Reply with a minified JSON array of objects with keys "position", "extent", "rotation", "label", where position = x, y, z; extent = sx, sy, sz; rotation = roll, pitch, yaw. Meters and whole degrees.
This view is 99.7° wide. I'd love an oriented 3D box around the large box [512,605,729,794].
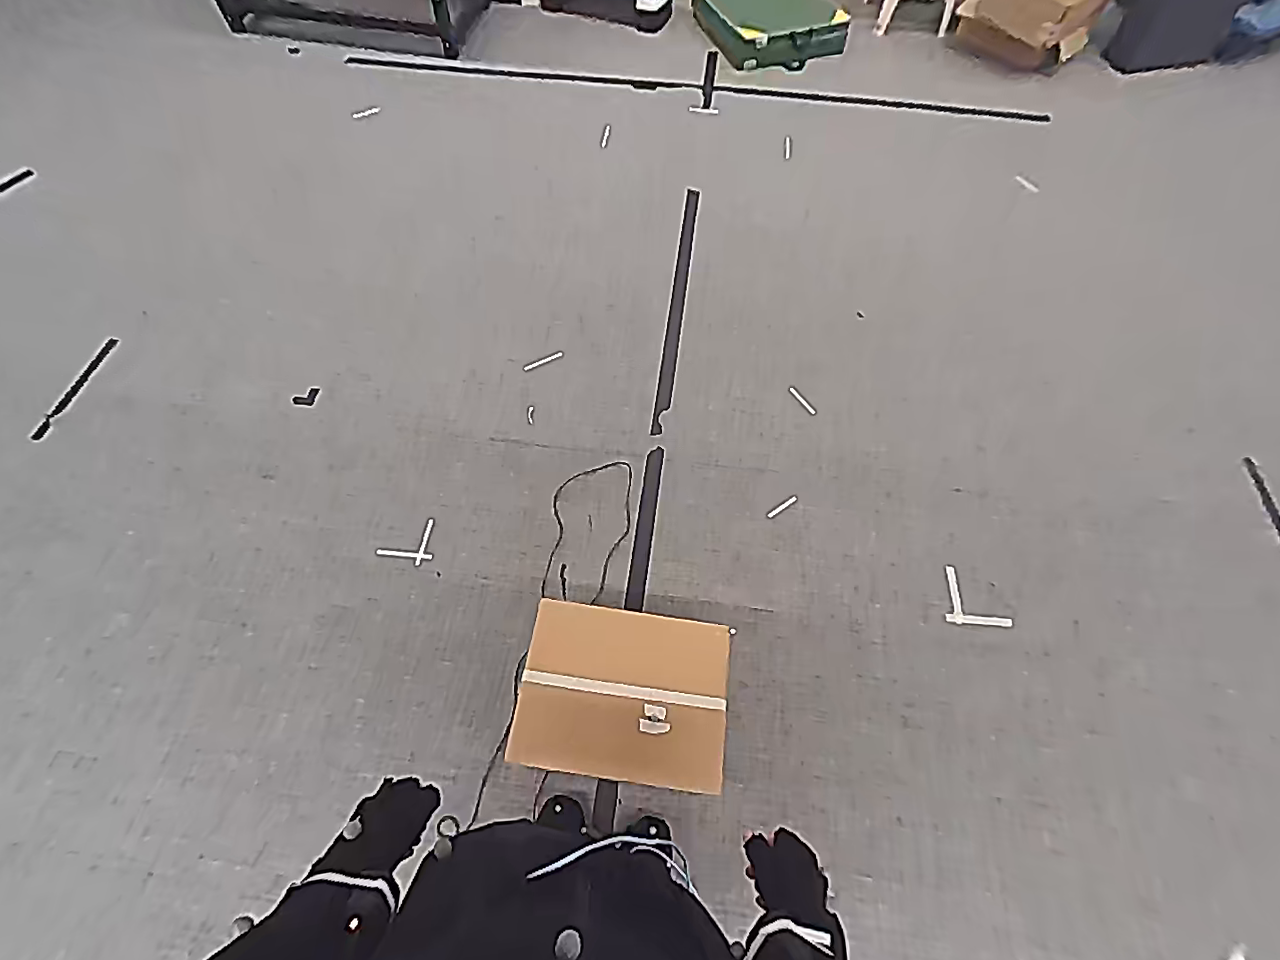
[{"position":[-0.035,0.493,1.200],"extent":[0.408,0.320,0.320],"rotation":[8,62,1],"label":"large box"}]
